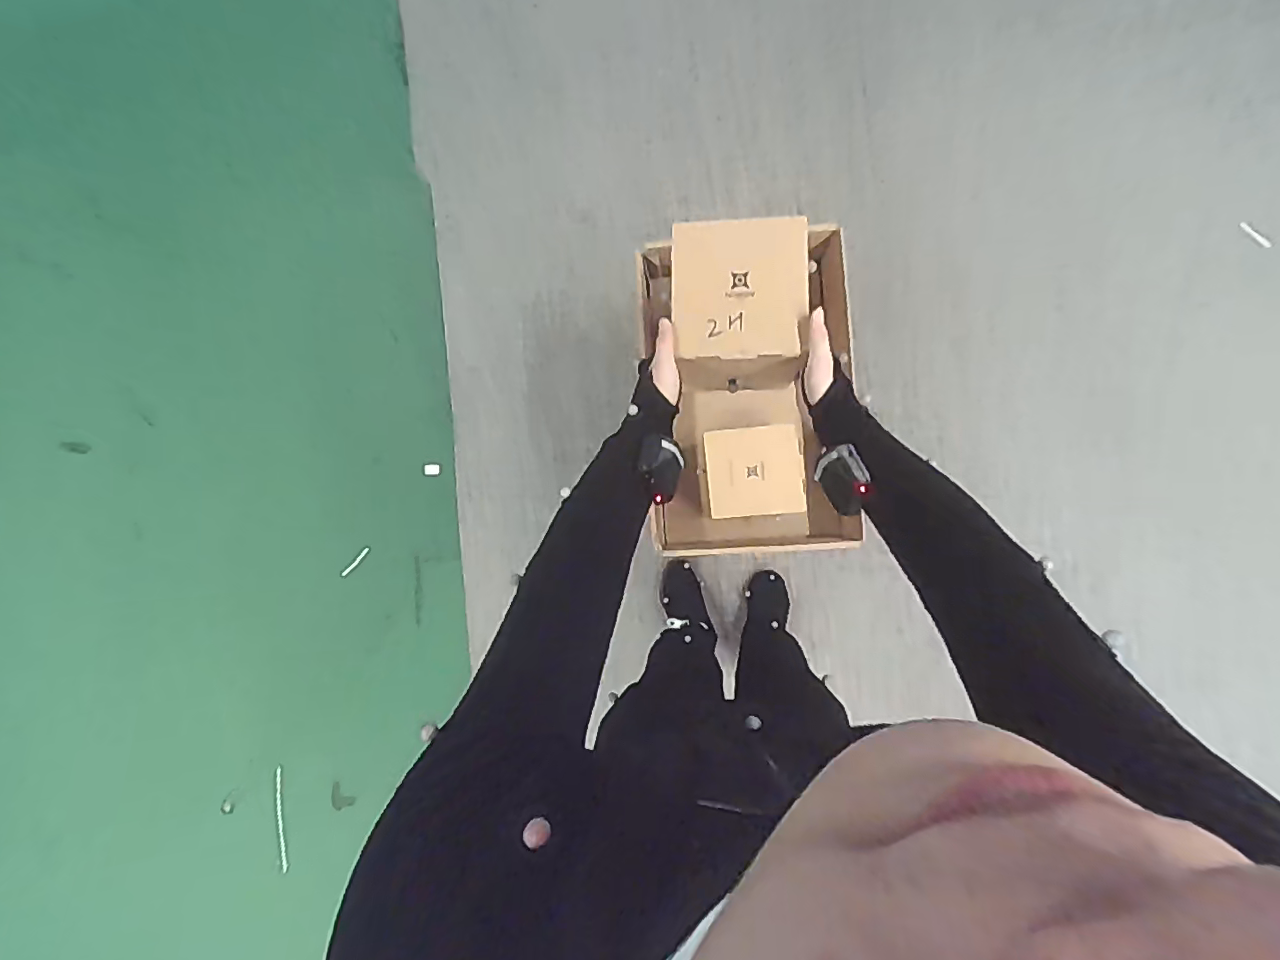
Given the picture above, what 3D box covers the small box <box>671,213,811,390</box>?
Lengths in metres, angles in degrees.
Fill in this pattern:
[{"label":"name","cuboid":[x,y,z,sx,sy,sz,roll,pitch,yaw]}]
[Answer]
[{"label":"small box","cuboid":[0.130,-0.227,0.725,0.168,0.176,0.179,1,86,8]}]
